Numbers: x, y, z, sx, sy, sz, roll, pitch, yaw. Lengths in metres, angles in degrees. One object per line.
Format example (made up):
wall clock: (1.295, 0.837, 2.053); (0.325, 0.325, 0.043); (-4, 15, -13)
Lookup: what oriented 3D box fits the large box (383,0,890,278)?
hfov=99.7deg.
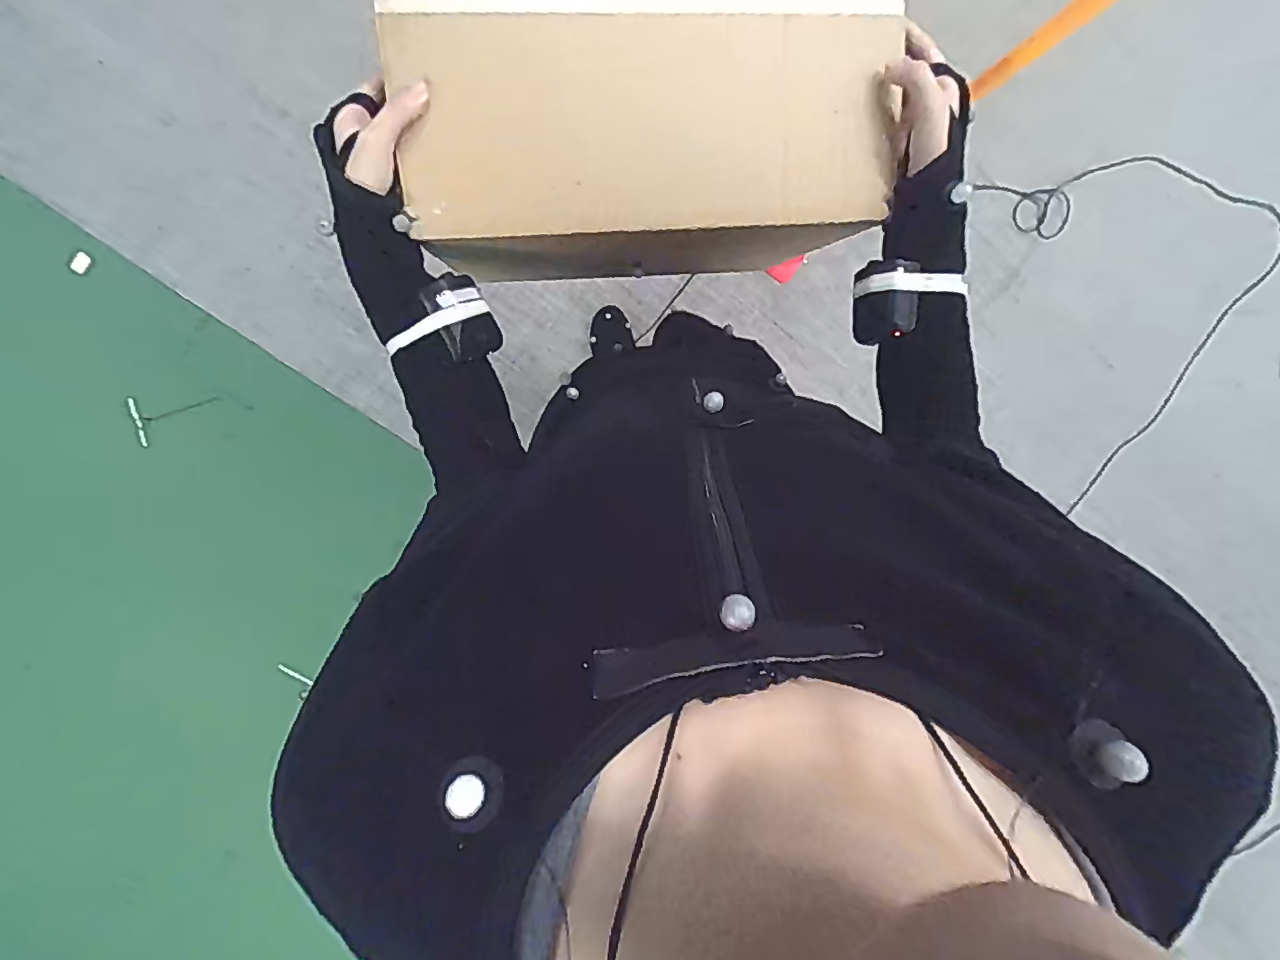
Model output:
large box: (-0.010, -0.397, 0.564); (0.408, 0.320, 0.320); (-5, 104, -6)
